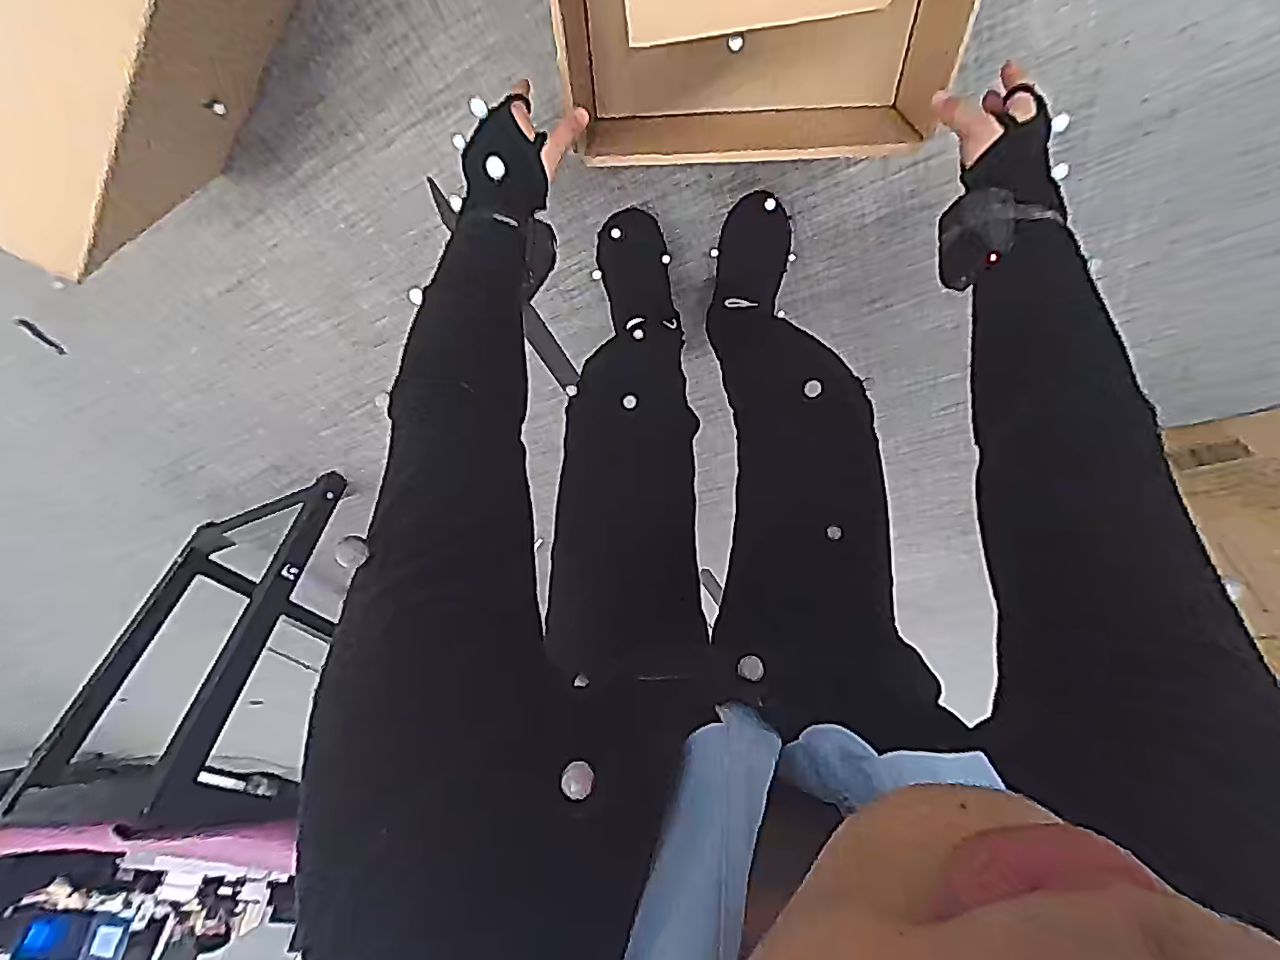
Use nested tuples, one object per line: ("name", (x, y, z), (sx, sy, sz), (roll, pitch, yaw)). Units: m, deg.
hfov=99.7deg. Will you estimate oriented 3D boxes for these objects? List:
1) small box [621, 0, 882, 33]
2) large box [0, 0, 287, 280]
("small box", (0.071, -0.415, 0.349), (0.179, 0.176, 0.168), (-3, 137, 6))
("large box", (-0.589, -0.498, 0.519), (0.408, 0.320, 0.320), (-30, 129, 34))
